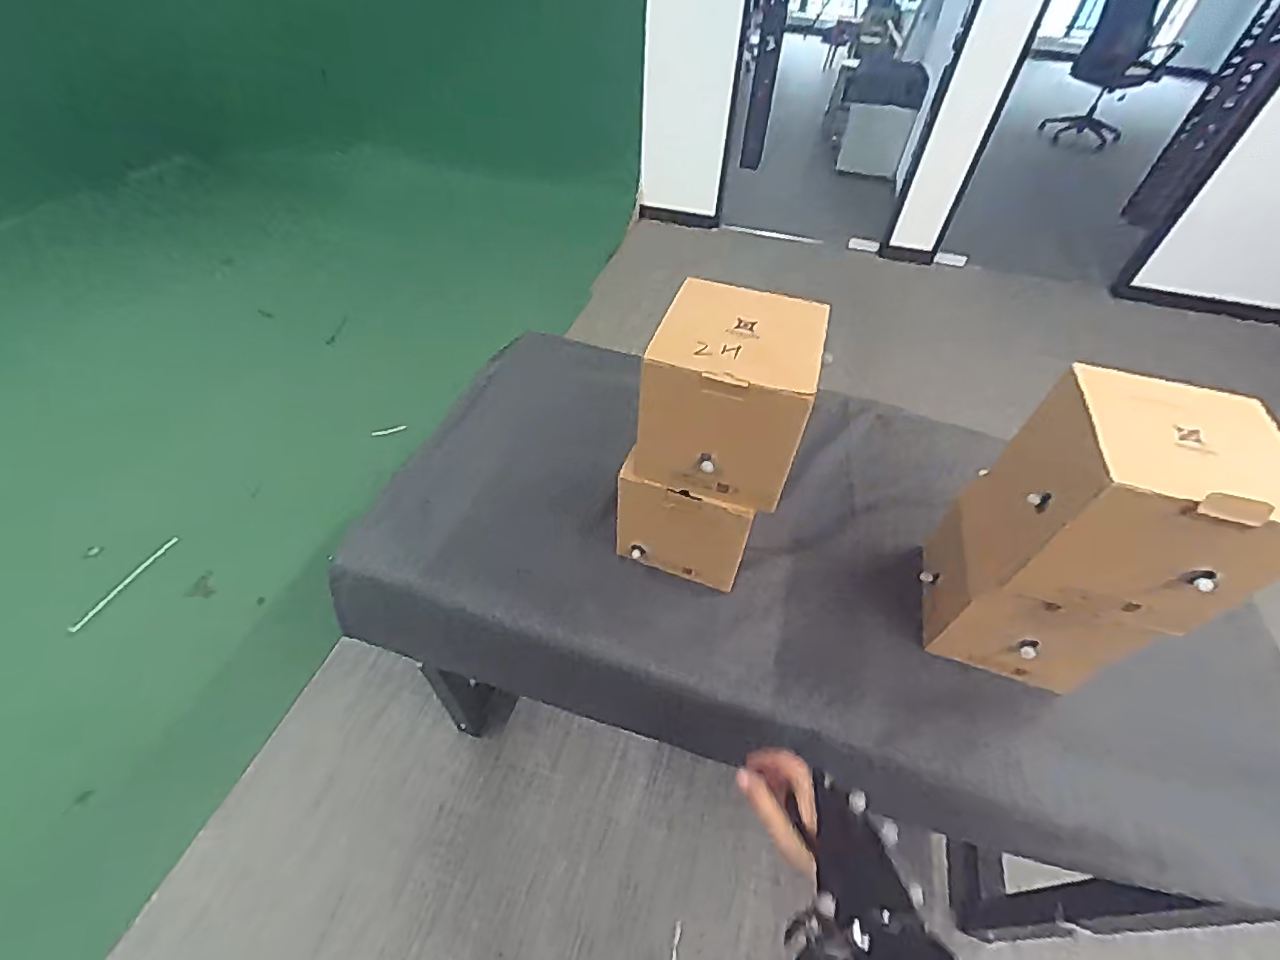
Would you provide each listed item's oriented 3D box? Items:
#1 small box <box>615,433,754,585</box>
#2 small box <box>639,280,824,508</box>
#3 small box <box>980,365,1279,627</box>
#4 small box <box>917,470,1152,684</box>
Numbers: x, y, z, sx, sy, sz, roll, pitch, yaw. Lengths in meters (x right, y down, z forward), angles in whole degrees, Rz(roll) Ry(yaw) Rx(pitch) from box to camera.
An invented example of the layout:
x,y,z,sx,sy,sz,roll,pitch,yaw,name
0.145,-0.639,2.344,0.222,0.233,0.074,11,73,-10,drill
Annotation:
x,y,z,sx,sy,sz,roll,pitch,yaw,name
0.074,0.014,0.738,0.168,0.176,0.179,18,48,12,small box
0.099,-0.099,0.620,0.168,0.176,0.179,15,48,11,small box
0.470,0.017,0.538,0.168,0.176,0.179,16,48,10,small box
0.459,0.122,0.663,0.168,0.176,0.179,16,49,11,small box
